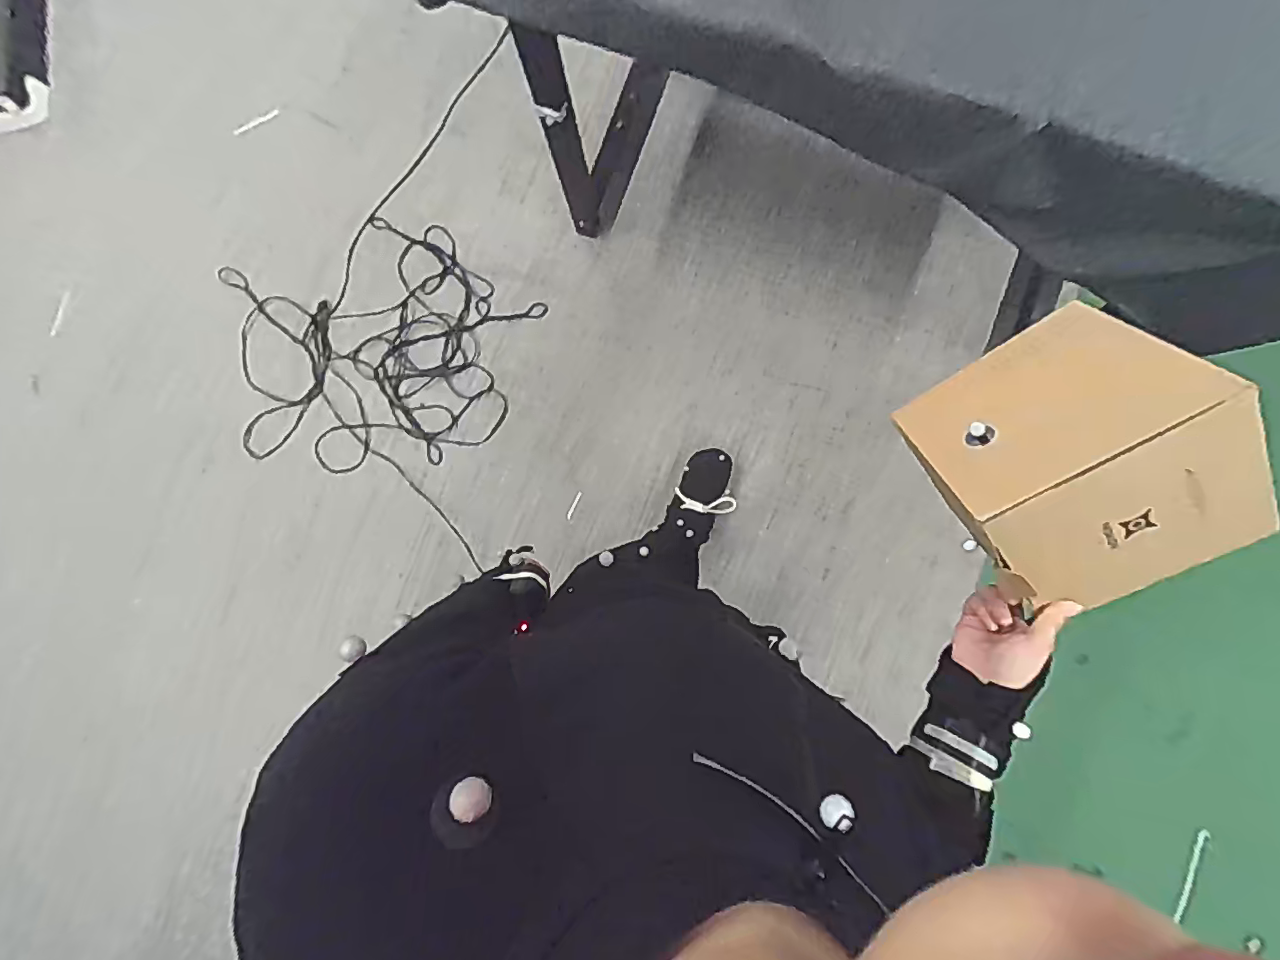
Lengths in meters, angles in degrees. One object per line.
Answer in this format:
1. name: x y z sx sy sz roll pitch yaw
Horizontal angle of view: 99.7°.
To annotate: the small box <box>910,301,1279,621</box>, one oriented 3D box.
1. small box: 0.365 -0.018 0.467 0.179 0.176 0.168 -36 120 21
